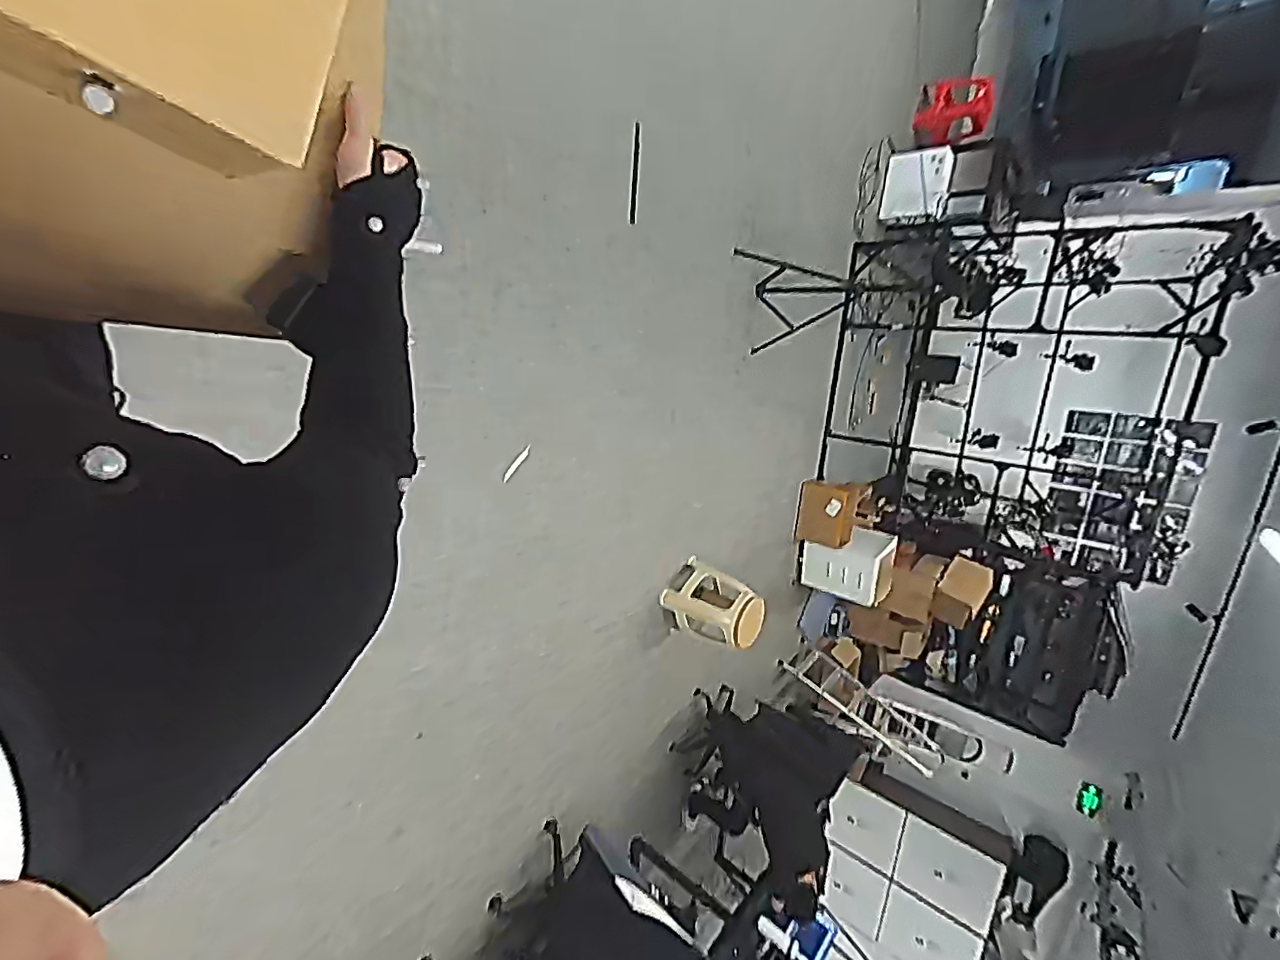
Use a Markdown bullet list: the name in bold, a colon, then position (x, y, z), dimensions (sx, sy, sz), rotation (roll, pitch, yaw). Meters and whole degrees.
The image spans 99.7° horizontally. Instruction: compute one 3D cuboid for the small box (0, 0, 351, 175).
- **small box**: position (-0.320, -0.329, 0.356), dimensions (0.179, 0.176, 0.168), rotation (12, 98, -50)
